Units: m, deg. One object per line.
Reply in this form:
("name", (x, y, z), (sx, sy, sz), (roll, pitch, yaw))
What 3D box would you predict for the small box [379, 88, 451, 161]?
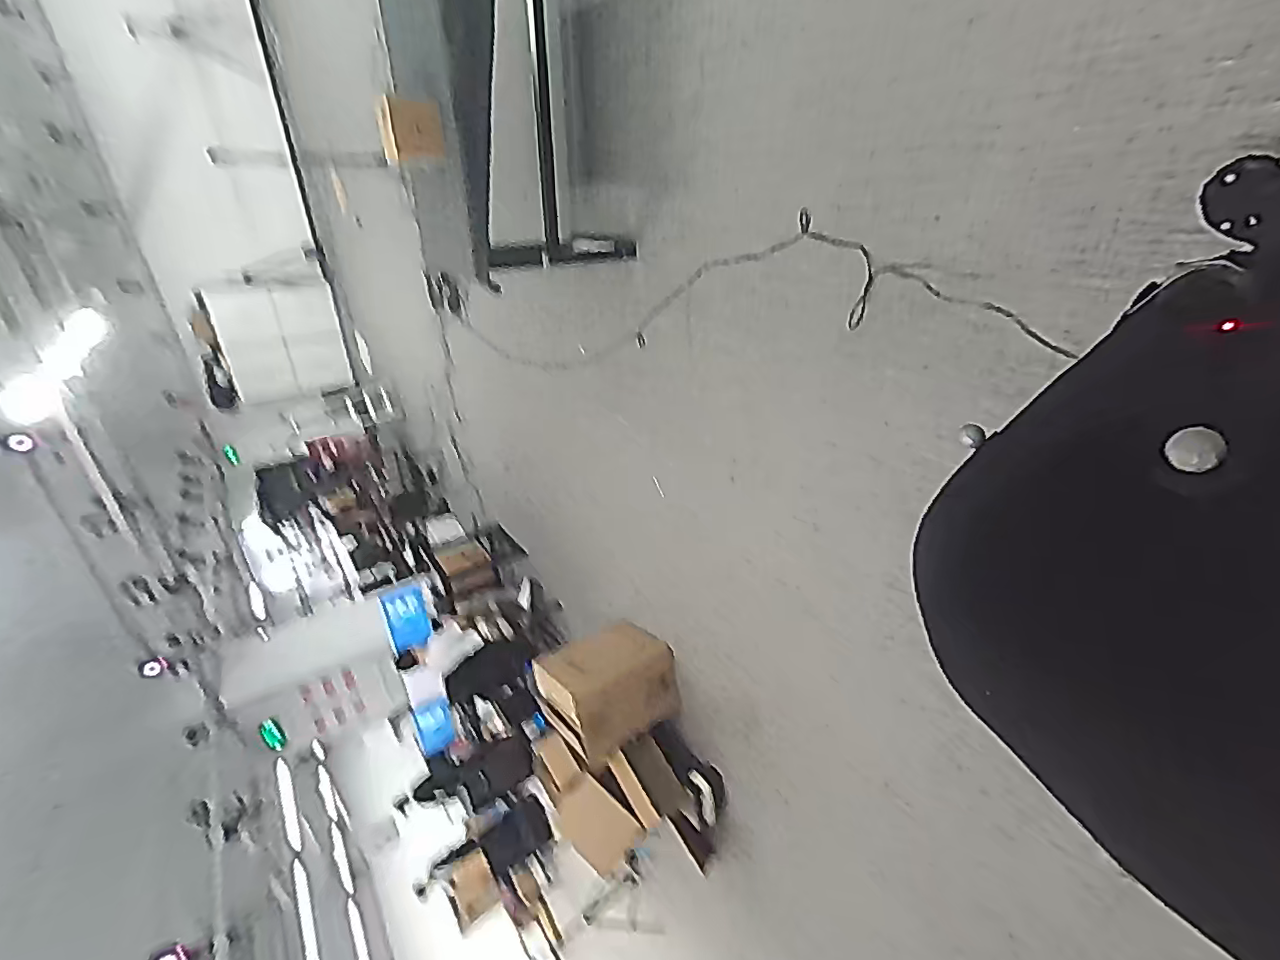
("small box", (-0.762, -1.200, 1.835), (0.168, 0.176, 0.179), (27, 127, 50))
